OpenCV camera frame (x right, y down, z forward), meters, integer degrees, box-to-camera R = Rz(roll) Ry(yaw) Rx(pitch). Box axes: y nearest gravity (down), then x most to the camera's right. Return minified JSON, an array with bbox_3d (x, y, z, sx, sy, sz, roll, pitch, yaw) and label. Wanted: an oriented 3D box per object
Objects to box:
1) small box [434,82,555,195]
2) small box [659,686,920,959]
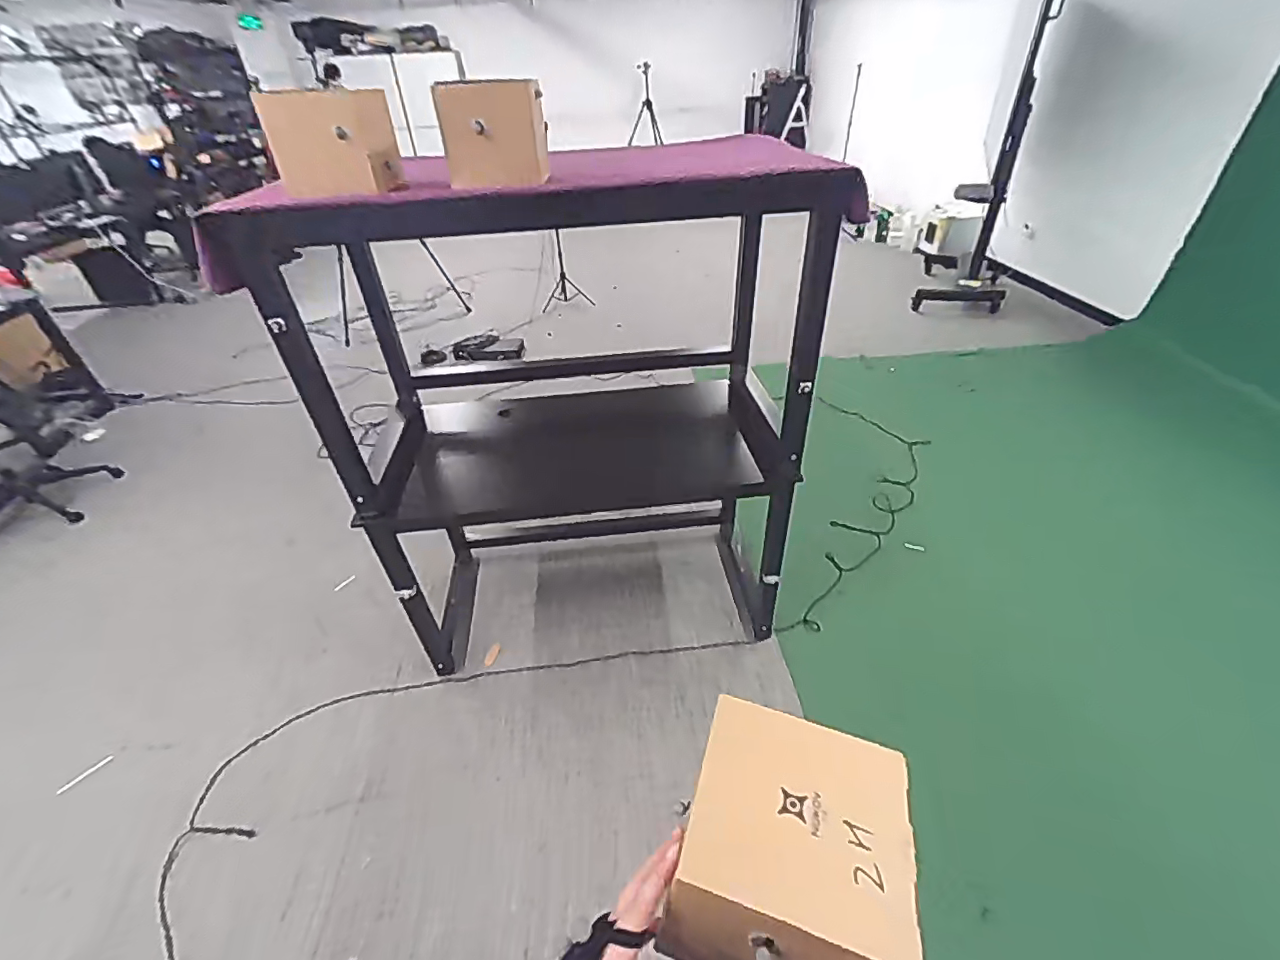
[{"bbox_3d":[-0.273,-0.664,1.054,0.179,0.176,0.168,-4,36,1],"label":"small box"},{"bbox_3d":[0.124,0.326,0.483,0.179,0.176,0.168,15,36,13],"label":"small box"}]
